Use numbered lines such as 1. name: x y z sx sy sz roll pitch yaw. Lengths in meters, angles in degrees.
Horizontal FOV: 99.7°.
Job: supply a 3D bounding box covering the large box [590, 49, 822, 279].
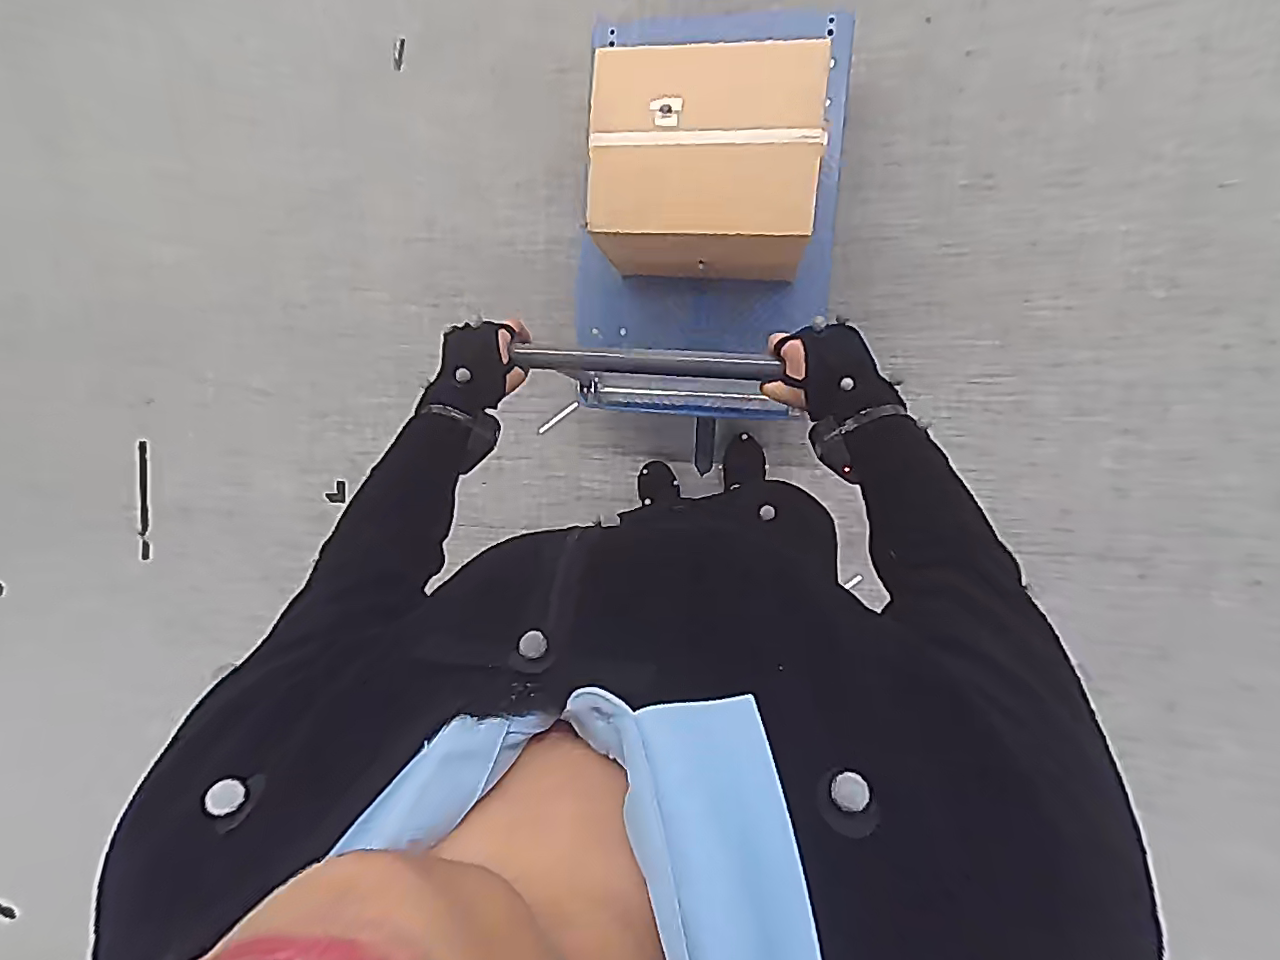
1. large box: 0.136 -0.607 1.110 0.408 0.320 0.320 5 96 10
